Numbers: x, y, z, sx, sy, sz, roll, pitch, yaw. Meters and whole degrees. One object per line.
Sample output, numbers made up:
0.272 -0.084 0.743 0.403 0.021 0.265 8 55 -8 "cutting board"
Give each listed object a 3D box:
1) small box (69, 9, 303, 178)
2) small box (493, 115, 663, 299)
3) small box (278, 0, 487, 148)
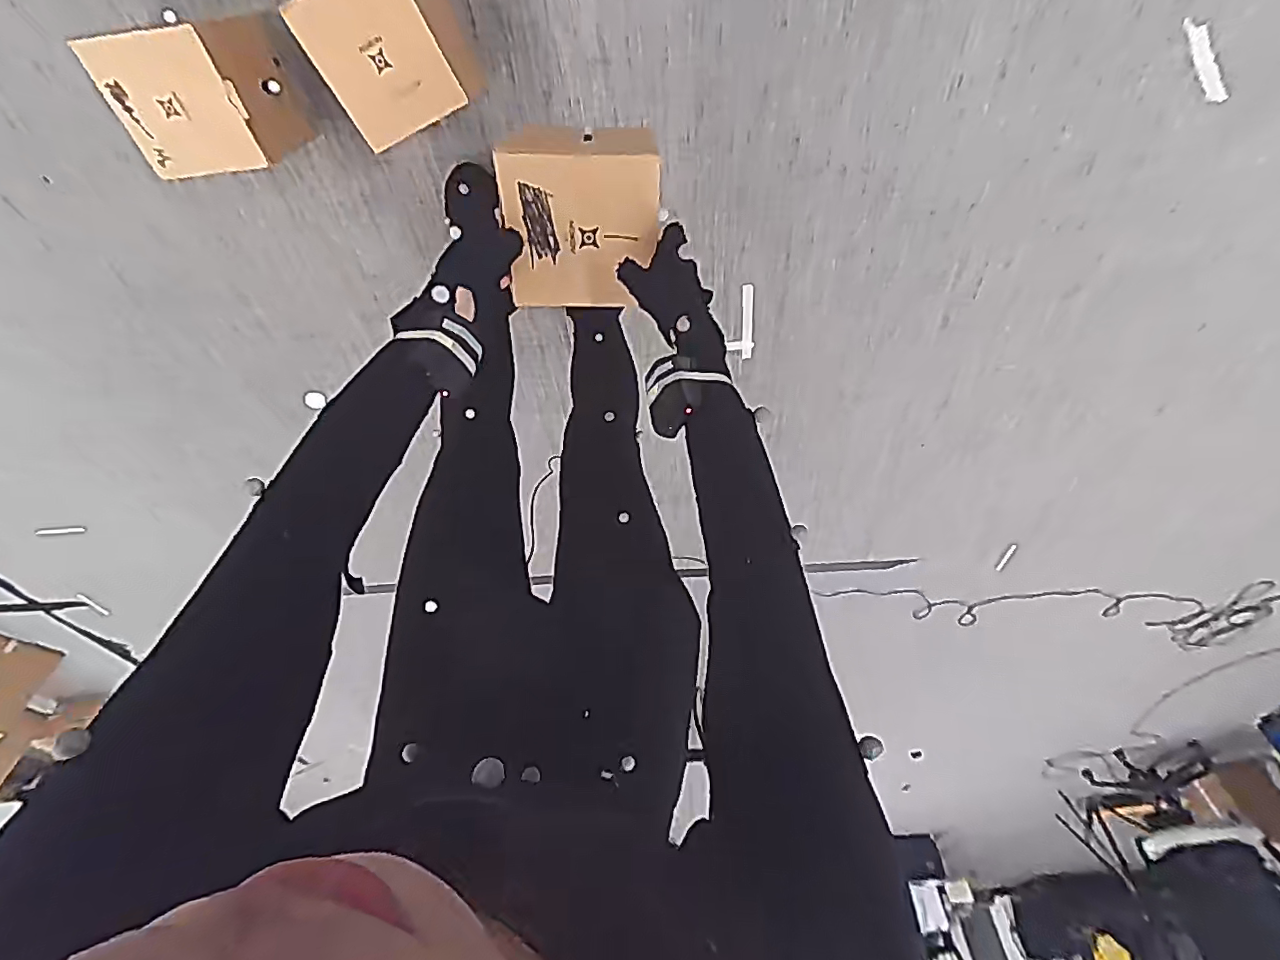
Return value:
-0.631 -0.565 0.788 0.179 0.176 0.168 -5 135 4 "small box"
-0.067 -0.335 0.660 0.179 0.176 0.168 0 131 -2 "small box"
-0.339 -0.607 0.751 0.168 0.176 0.179 -17 134 17 "small box"
